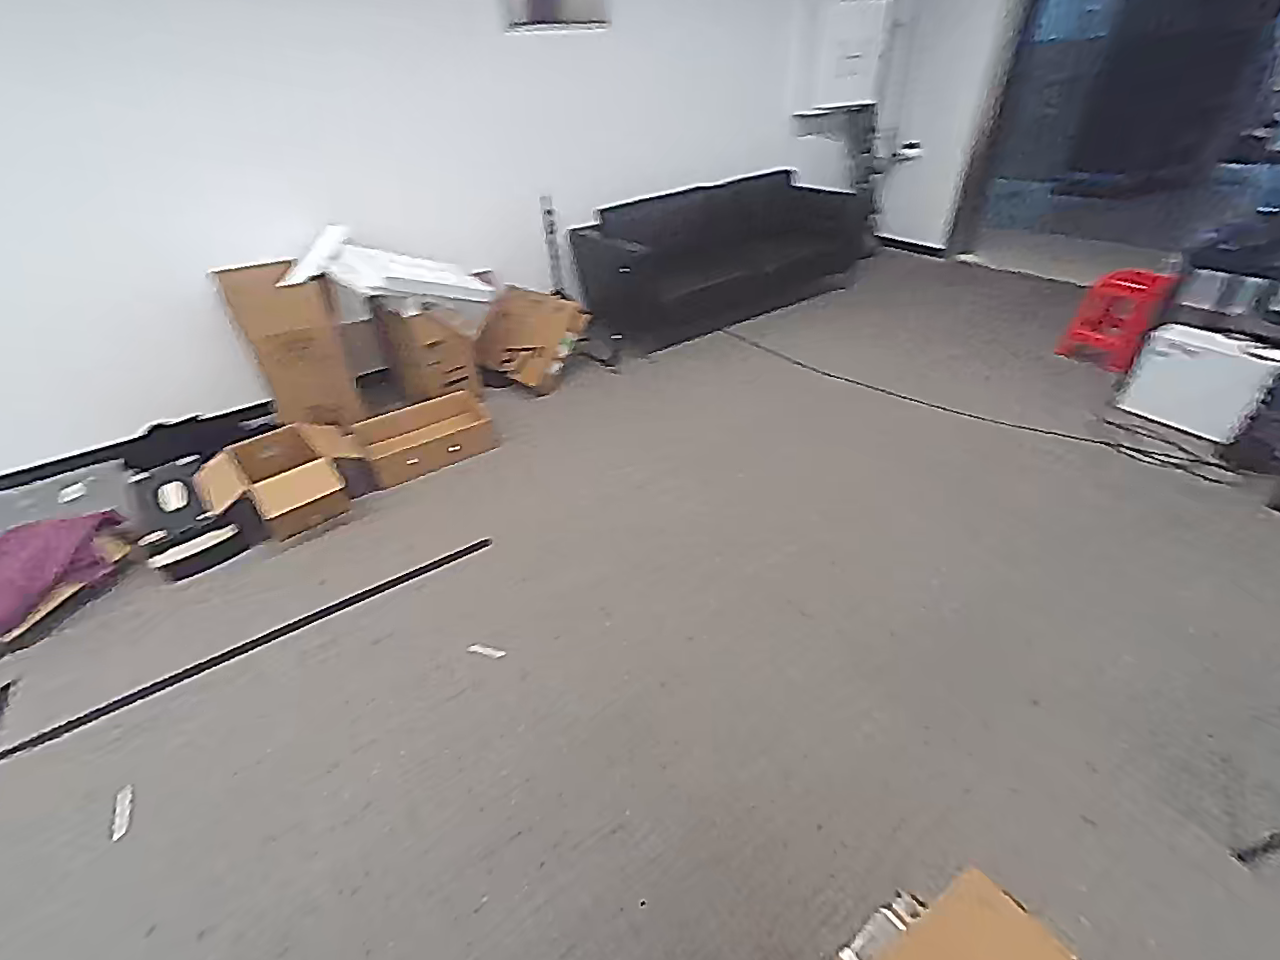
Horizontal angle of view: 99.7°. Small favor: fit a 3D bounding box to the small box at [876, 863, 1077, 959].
[{"bbox_3d":[0.351,0.553,0.555,0.179,0.176,0.168,-25,38,-21],"label":"small box"}]
